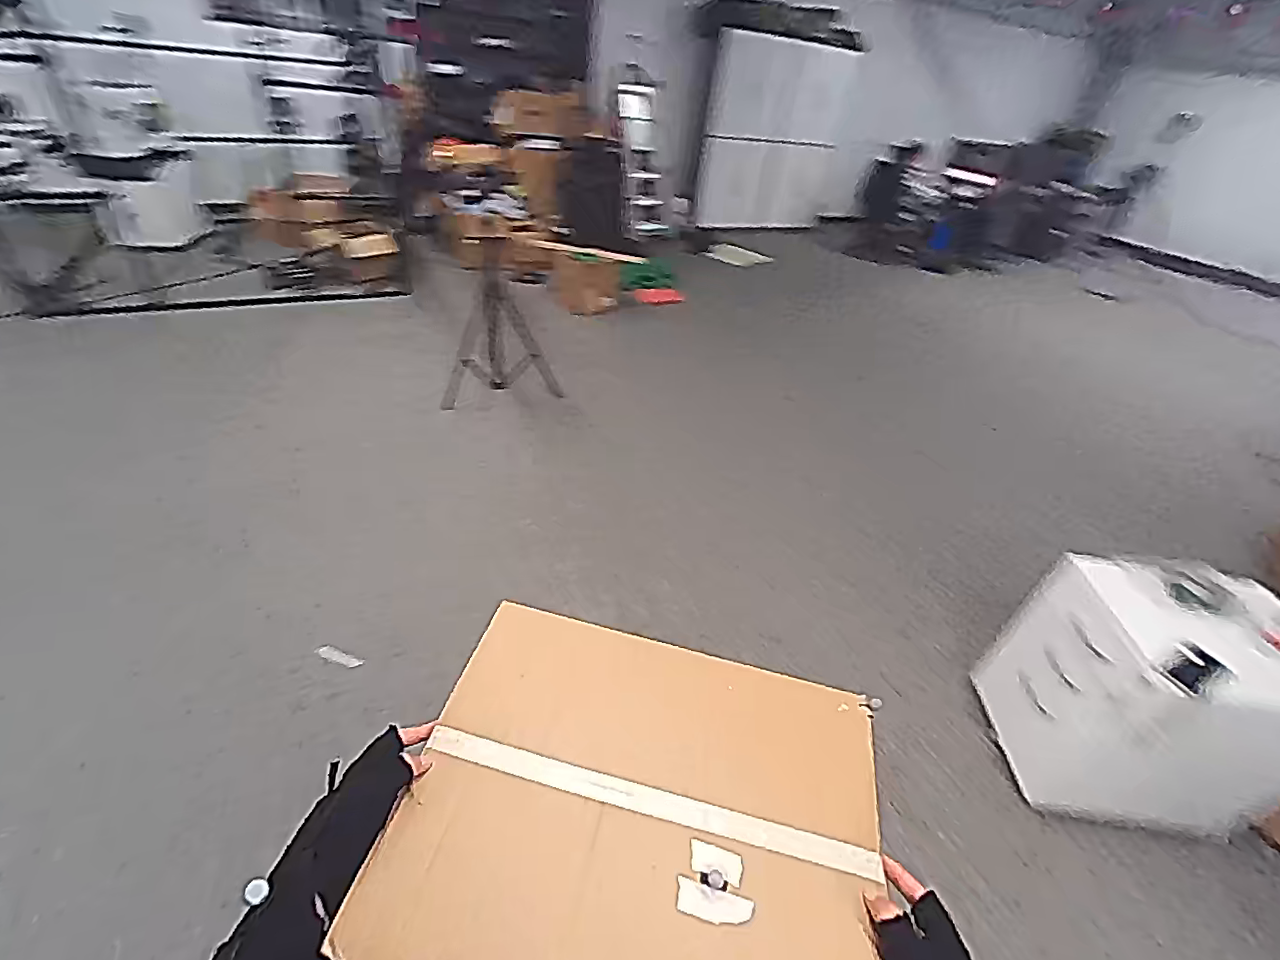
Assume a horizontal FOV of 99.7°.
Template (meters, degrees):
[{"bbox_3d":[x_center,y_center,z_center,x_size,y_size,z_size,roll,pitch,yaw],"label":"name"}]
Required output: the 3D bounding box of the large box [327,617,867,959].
[{"bbox_3d":[-0.022,0.399,0.577,0.408,0.320,0.320,13,43,5],"label":"large box"}]
